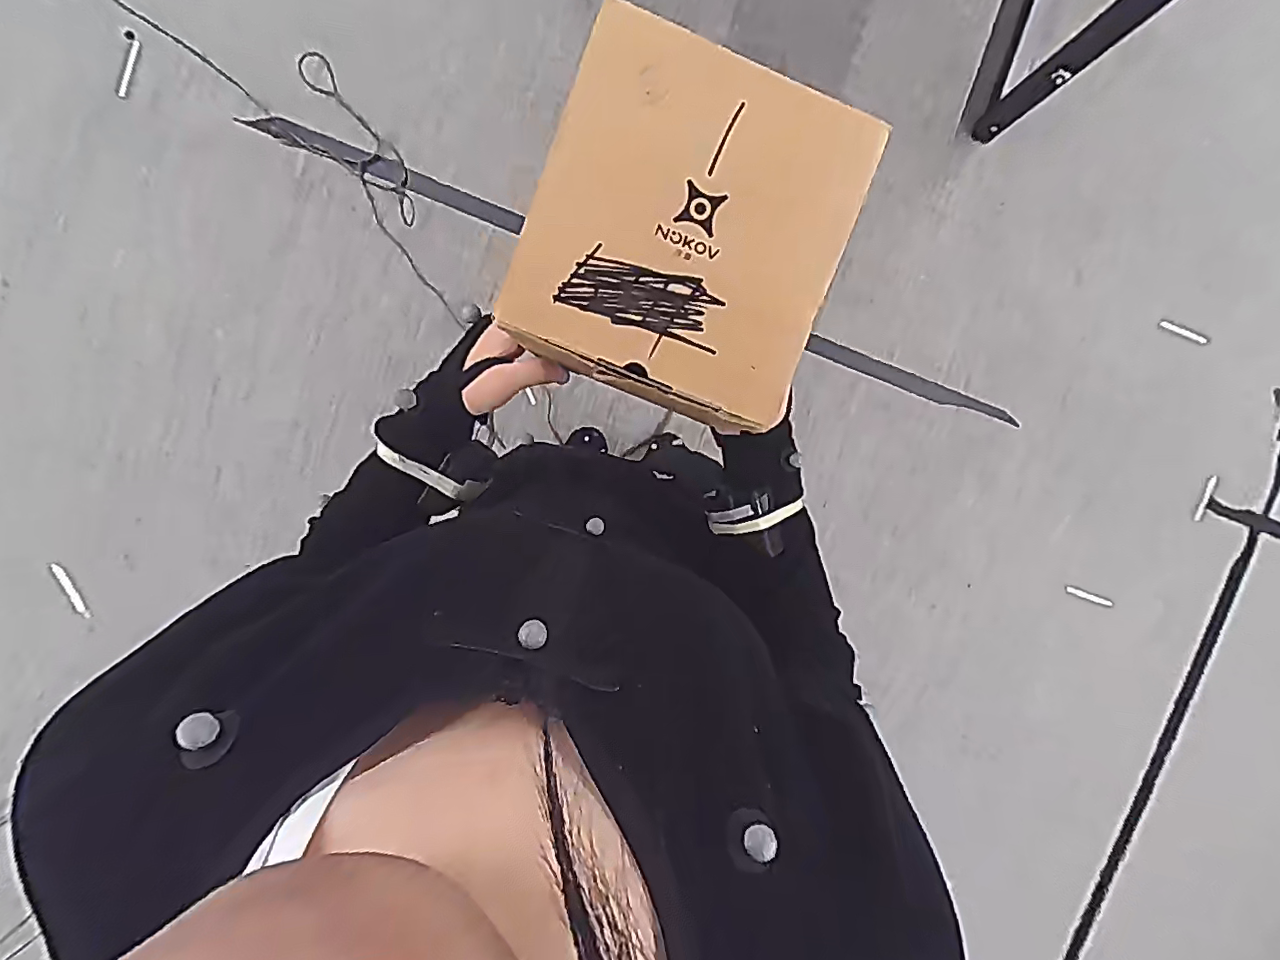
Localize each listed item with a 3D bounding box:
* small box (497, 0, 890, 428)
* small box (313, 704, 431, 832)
[{"bbox_3d":[0.025,-0.145,0.367,0.168,0.176,0.179,21,94,-6],"label":"small box"},{"bbox_3d":[-0.611,0.659,1.255,0.168,0.176,0.179,22,92,-5],"label":"small box"}]
